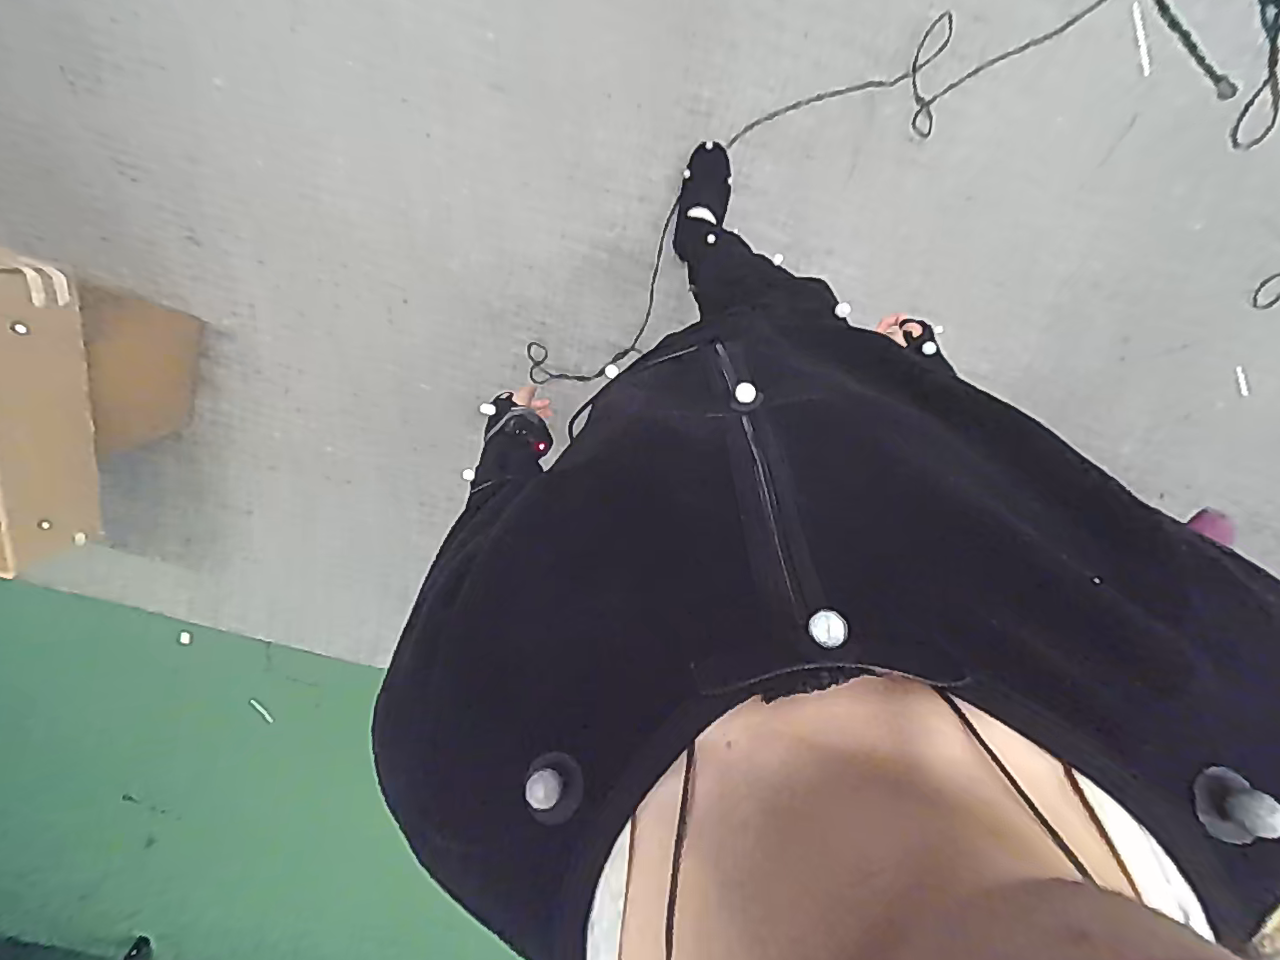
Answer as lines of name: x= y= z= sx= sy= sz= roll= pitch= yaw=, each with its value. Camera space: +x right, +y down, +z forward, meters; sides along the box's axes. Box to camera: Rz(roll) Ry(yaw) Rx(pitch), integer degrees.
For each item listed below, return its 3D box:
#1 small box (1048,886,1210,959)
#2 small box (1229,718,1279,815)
small box: x=0.931 y=0.906 z=1.012 sx=0.179 sy=0.176 sz=0.168 roll=21 pitch=112 yaw=-7
small box: x=1.095 y=0.472 z=0.826 sx=0.179 sy=0.176 sz=0.168 roll=15 pitch=112 yaw=-5
